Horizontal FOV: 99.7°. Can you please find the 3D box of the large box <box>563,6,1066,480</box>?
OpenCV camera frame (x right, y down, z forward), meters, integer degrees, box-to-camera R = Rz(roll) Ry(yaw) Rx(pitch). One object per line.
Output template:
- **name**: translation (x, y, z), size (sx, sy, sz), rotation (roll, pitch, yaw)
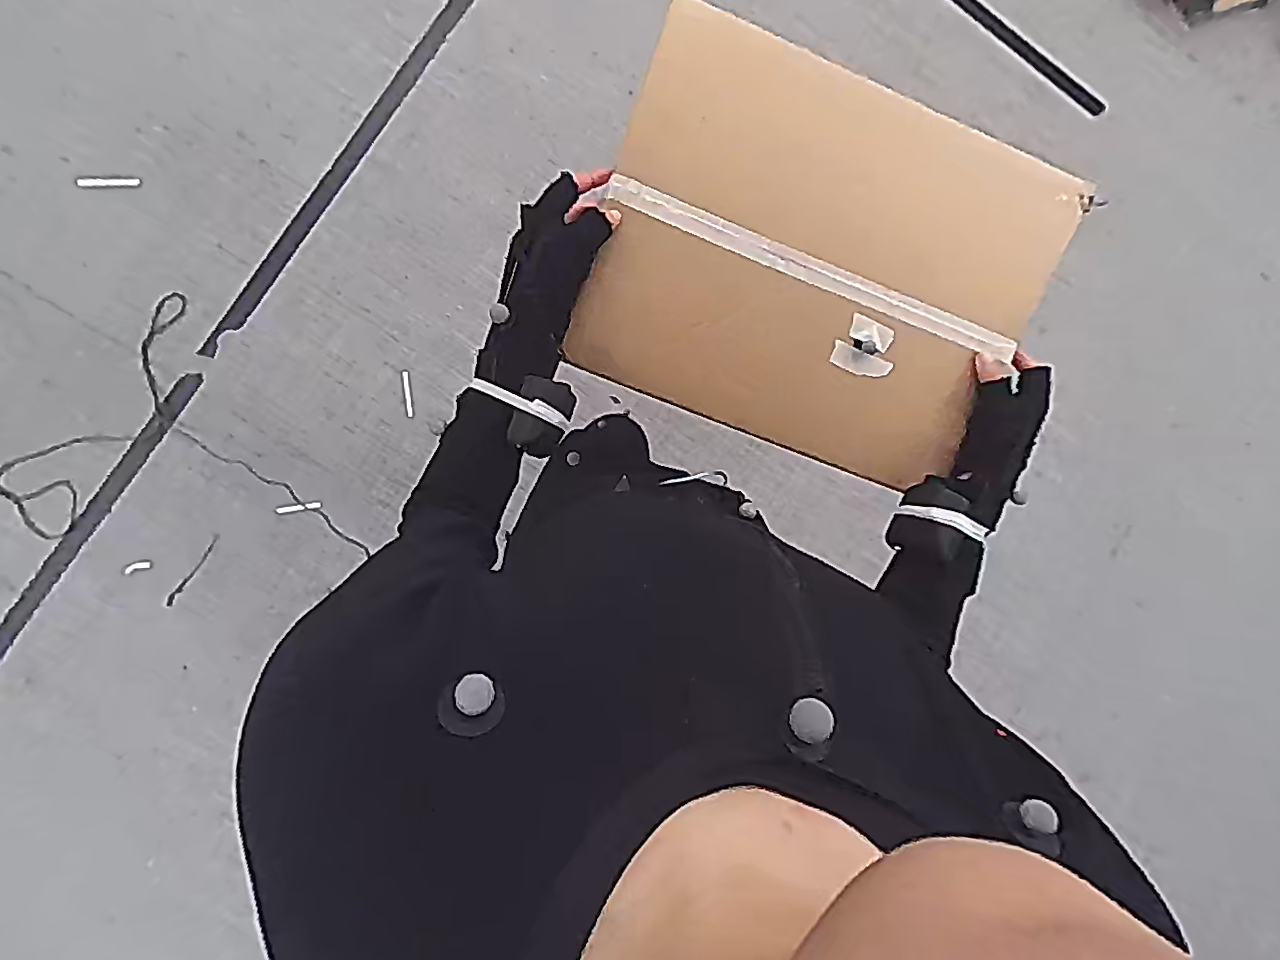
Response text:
- **large box**: translation (0.153, -0.234, 0.653), size (0.408, 0.320, 0.320), rotation (20, 102, -7)
